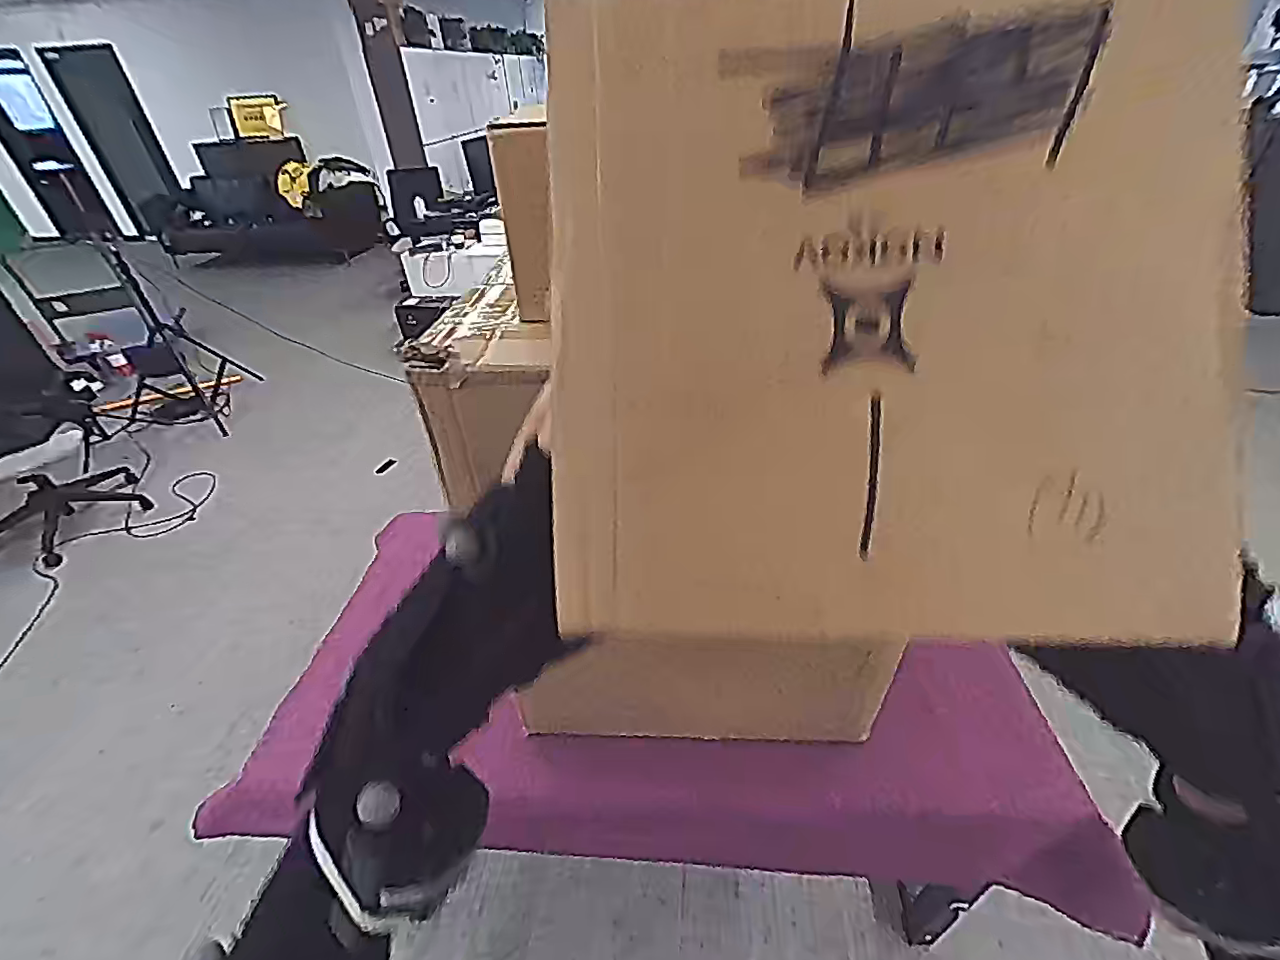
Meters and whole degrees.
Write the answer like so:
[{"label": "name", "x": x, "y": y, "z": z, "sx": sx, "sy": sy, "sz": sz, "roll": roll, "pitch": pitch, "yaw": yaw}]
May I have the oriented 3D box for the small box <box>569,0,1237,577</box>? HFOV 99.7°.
[{"label": "small box", "x": 0.070, "y": -0.061, "z": 0.220, "sx": 0.168, "sy": 0.179, "sz": 0.176, "roll": 0, "pitch": -1, "yaw": 6}]
